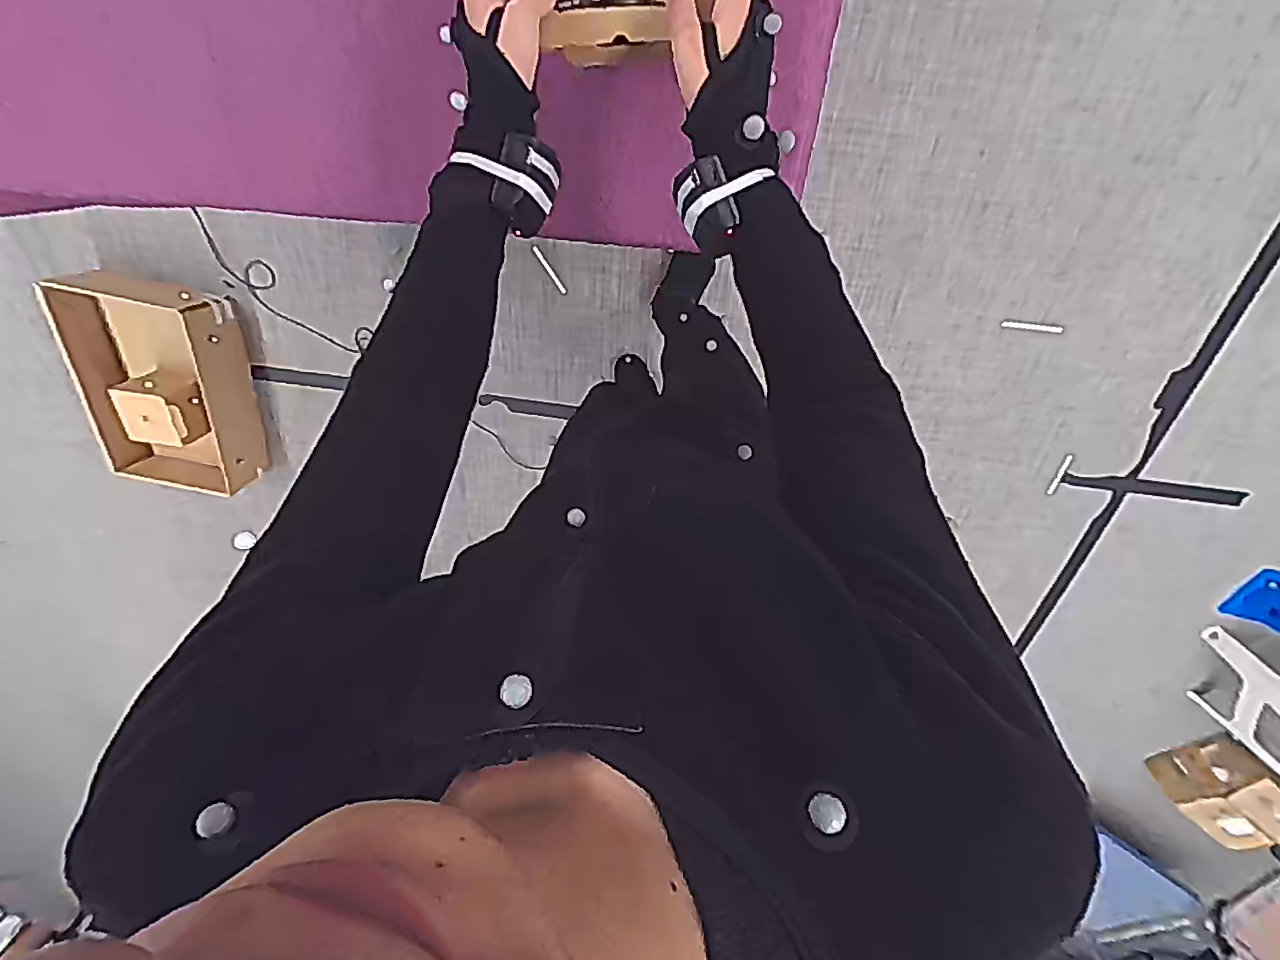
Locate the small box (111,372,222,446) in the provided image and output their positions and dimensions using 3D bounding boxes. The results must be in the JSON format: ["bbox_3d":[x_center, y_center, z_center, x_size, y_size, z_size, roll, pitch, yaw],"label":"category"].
[{"bbox_3d":[-1.428,-0.221,1.651,0.179,0.176,0.168,7,121,2],"label":"small box"}]
